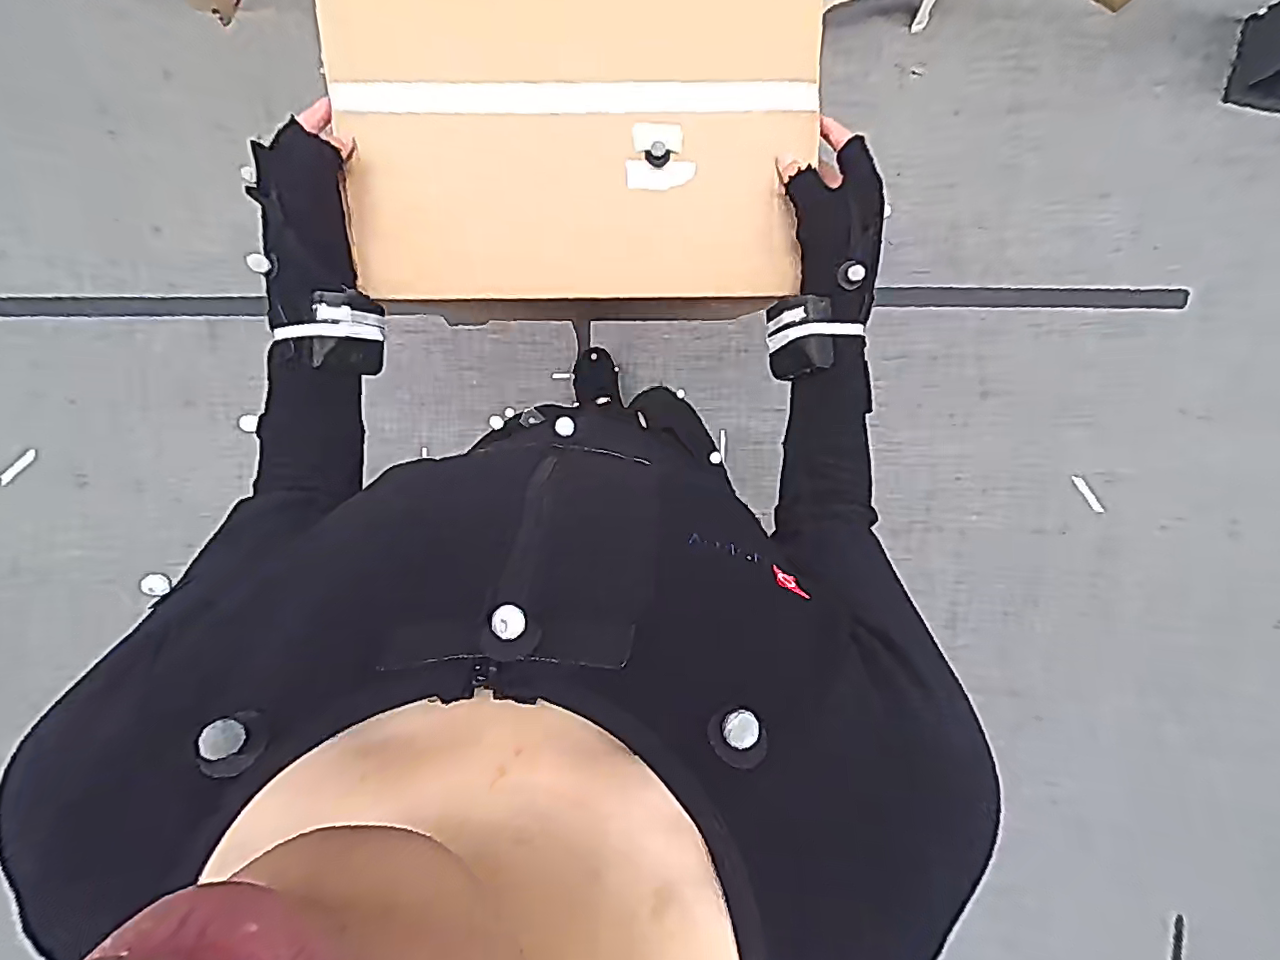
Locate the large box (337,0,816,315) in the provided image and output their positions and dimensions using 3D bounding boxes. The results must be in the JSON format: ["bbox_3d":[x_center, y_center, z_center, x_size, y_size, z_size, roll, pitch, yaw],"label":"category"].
[{"bbox_3d":[-0.057,-0.361,0.607,0.408,0.320,0.320,-1,103,-2],"label":"large box"}]
